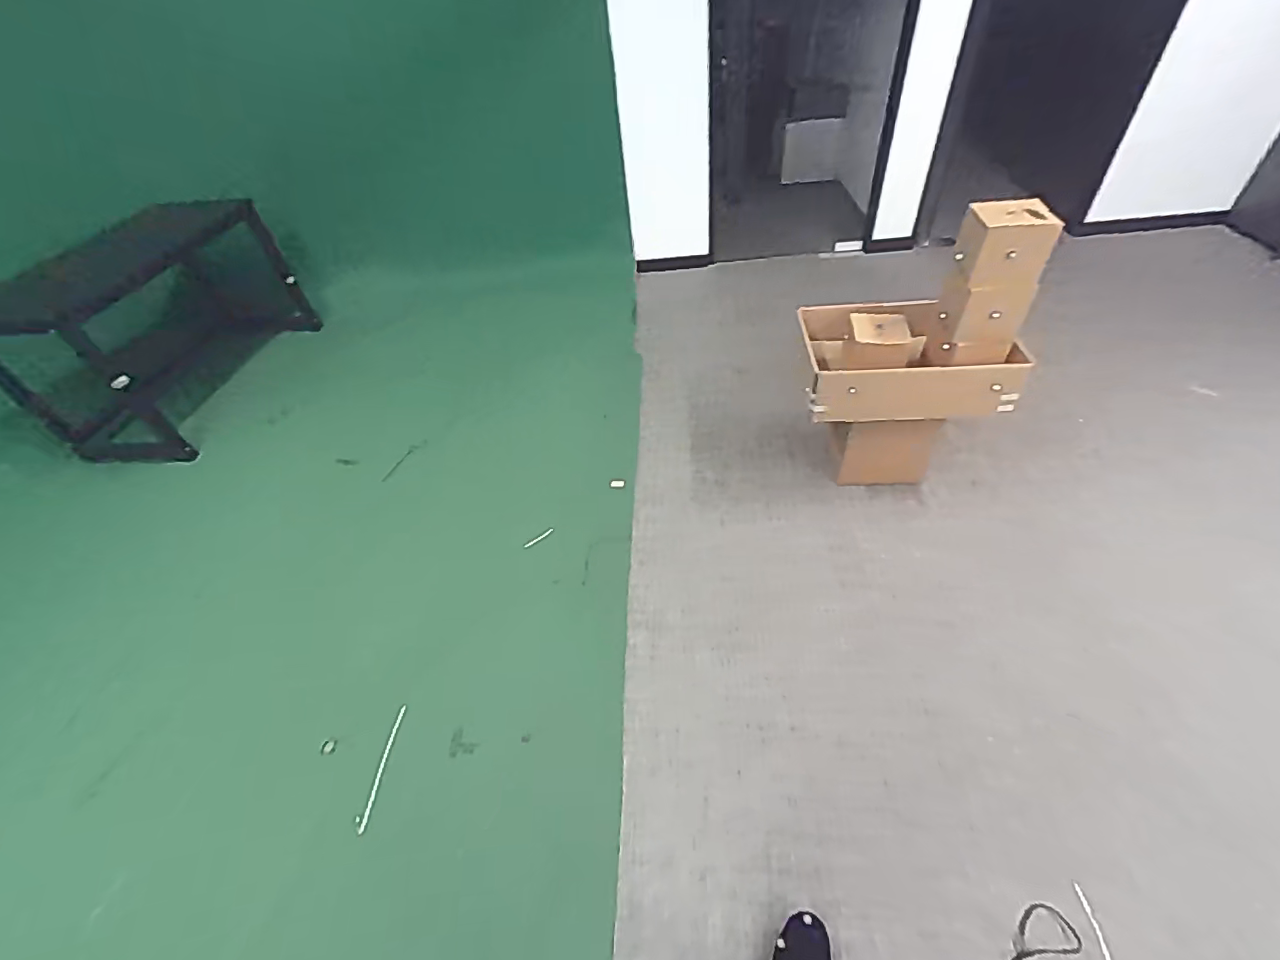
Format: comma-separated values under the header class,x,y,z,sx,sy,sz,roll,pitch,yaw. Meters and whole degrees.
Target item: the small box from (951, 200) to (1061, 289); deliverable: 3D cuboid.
class,x,y,z,sx,sy,sz,roll,pitch,yaw
small box,0.976,-0.634,1.460,0.179,0.176,0.168,0,46,9
